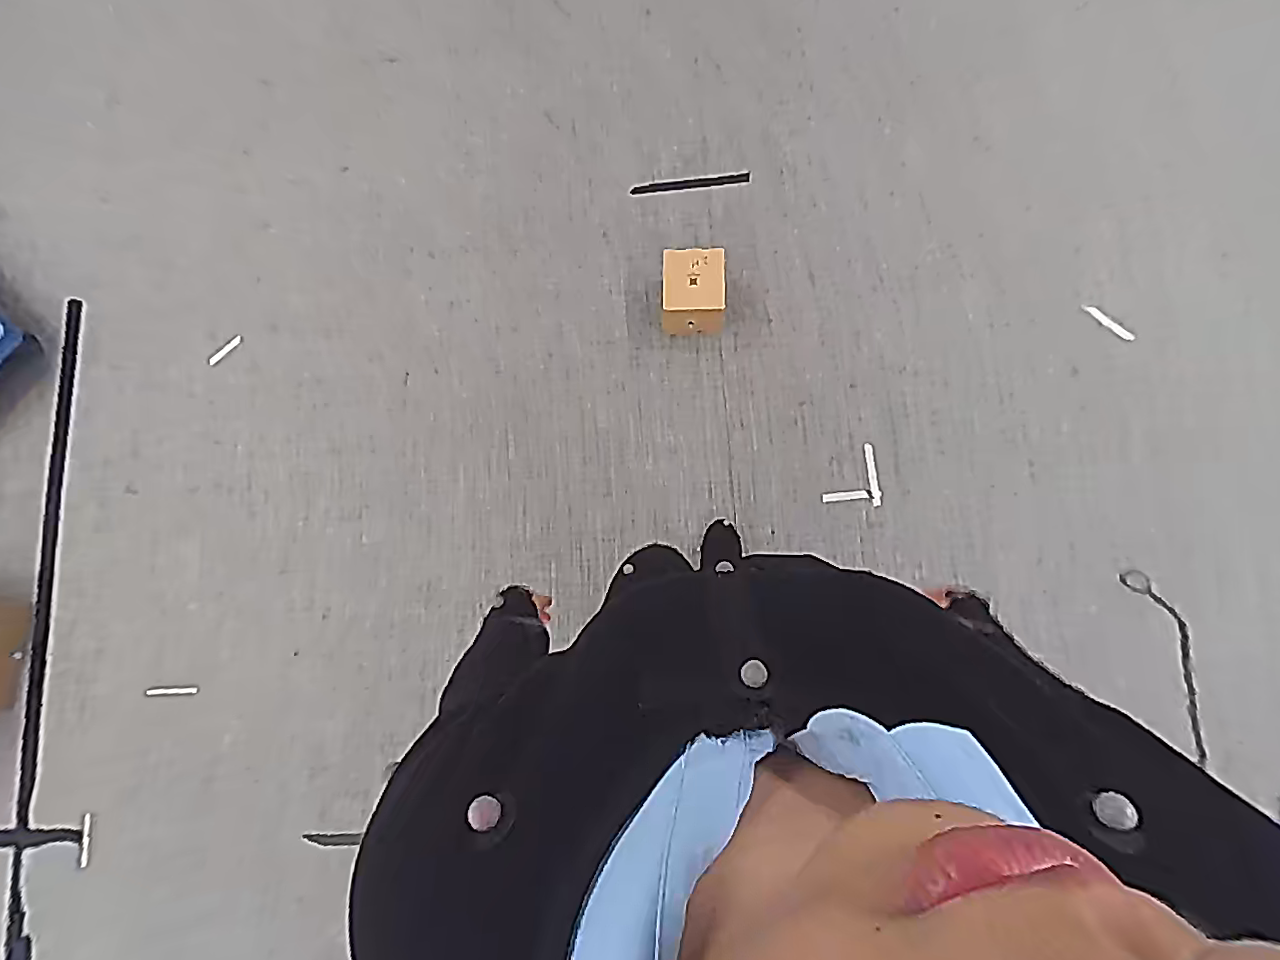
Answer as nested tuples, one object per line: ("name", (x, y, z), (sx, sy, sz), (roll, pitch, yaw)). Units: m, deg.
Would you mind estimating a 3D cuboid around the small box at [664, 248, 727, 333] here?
("small box", (0.154, -0.522, 1.512), (0.168, 0.176, 0.179), (0, 82, 3))
